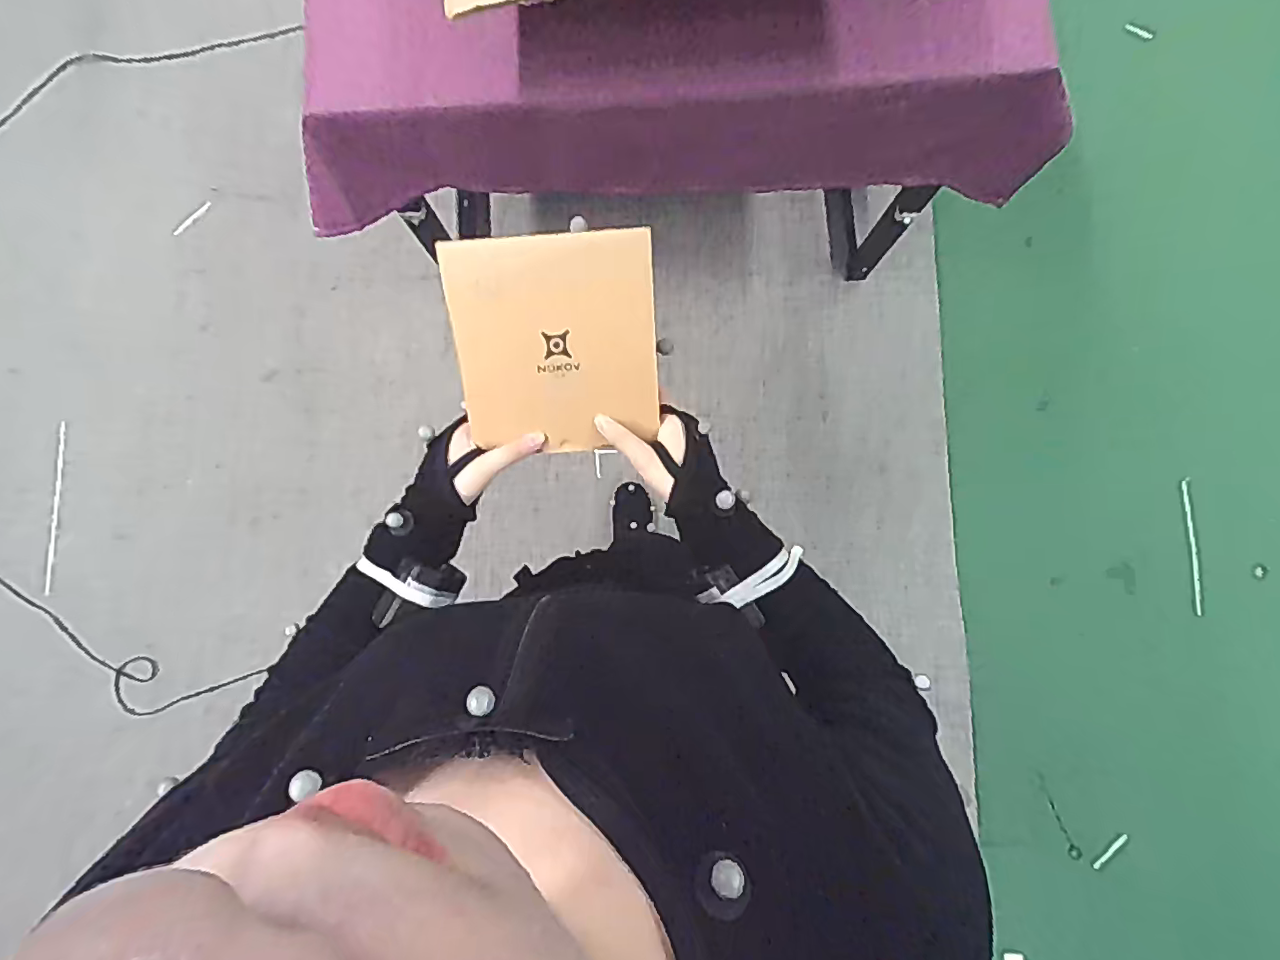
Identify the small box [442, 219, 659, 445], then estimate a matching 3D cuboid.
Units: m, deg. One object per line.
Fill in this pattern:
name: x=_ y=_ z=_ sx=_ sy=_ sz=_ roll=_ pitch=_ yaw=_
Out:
small box: x=-0.071 y=-0.147 z=0.522 sx=0.168 sy=0.176 sz=0.179 roll=-4 pitch=114 yaw=0
